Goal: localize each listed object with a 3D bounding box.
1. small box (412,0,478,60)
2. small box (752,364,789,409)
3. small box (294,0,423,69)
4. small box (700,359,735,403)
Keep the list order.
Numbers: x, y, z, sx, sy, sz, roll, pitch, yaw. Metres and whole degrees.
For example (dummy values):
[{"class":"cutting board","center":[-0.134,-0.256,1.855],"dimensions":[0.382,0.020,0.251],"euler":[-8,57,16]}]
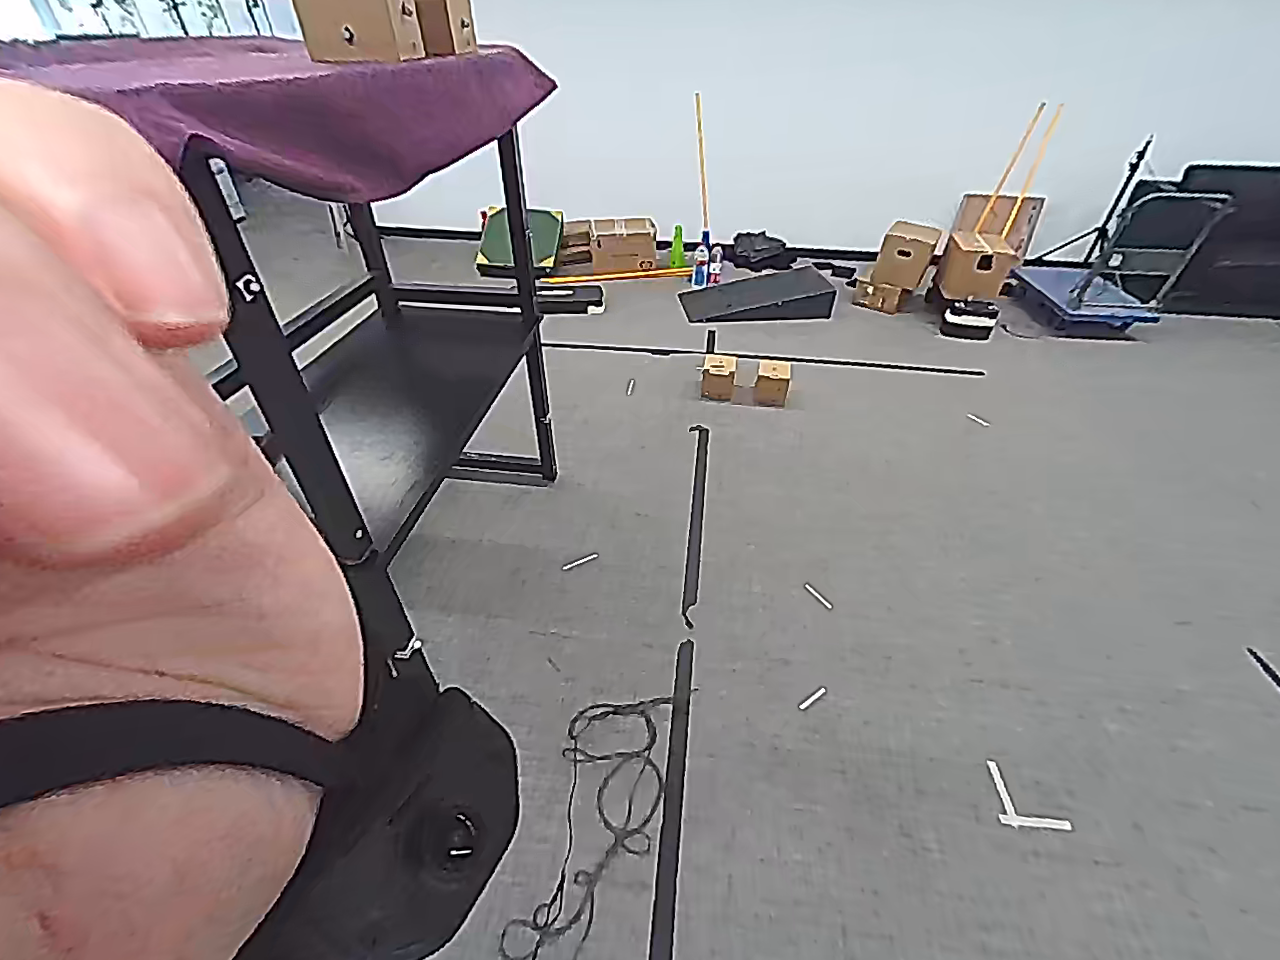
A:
[{"class":"small box","center":[-0.504,-1.098,1.273],"dimensions":[0.179,0.176,0.168],"euler":[3,41,4]},{"class":"small box","center":[0.693,-0.494,2.870],"dimensions":[0.168,0.176,0.179],"euler":[10,40,8]},{"class":"small box","center":[-0.541,-0.907,1.046],"dimensions":[0.179,0.176,0.168],"euler":[0,39,-1]},{"class":"small box","center":[0.415,-0.531,2.900],"dimensions":[0.168,0.176,0.179],"euler":[7,40,6]}]
